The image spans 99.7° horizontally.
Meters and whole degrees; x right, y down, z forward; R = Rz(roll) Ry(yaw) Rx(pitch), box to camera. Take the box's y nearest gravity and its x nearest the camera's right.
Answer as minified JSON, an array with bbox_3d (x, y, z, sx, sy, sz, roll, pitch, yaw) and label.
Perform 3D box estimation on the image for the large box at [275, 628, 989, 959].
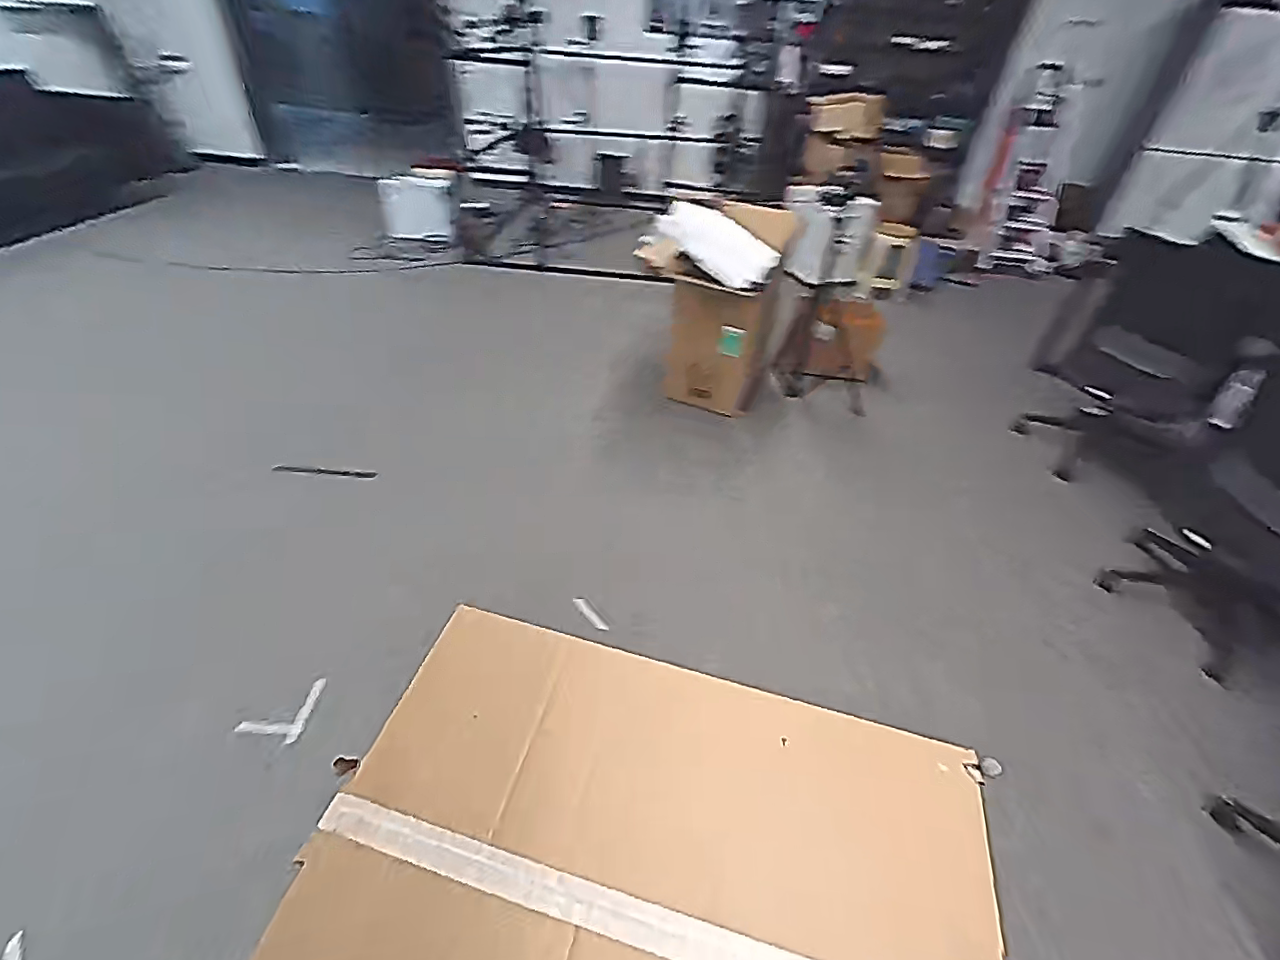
[{"bbox_3d":[-0.006,0.368,0.425,0.408,0.320,0.320,12,47,8],"label":"large box"}]
